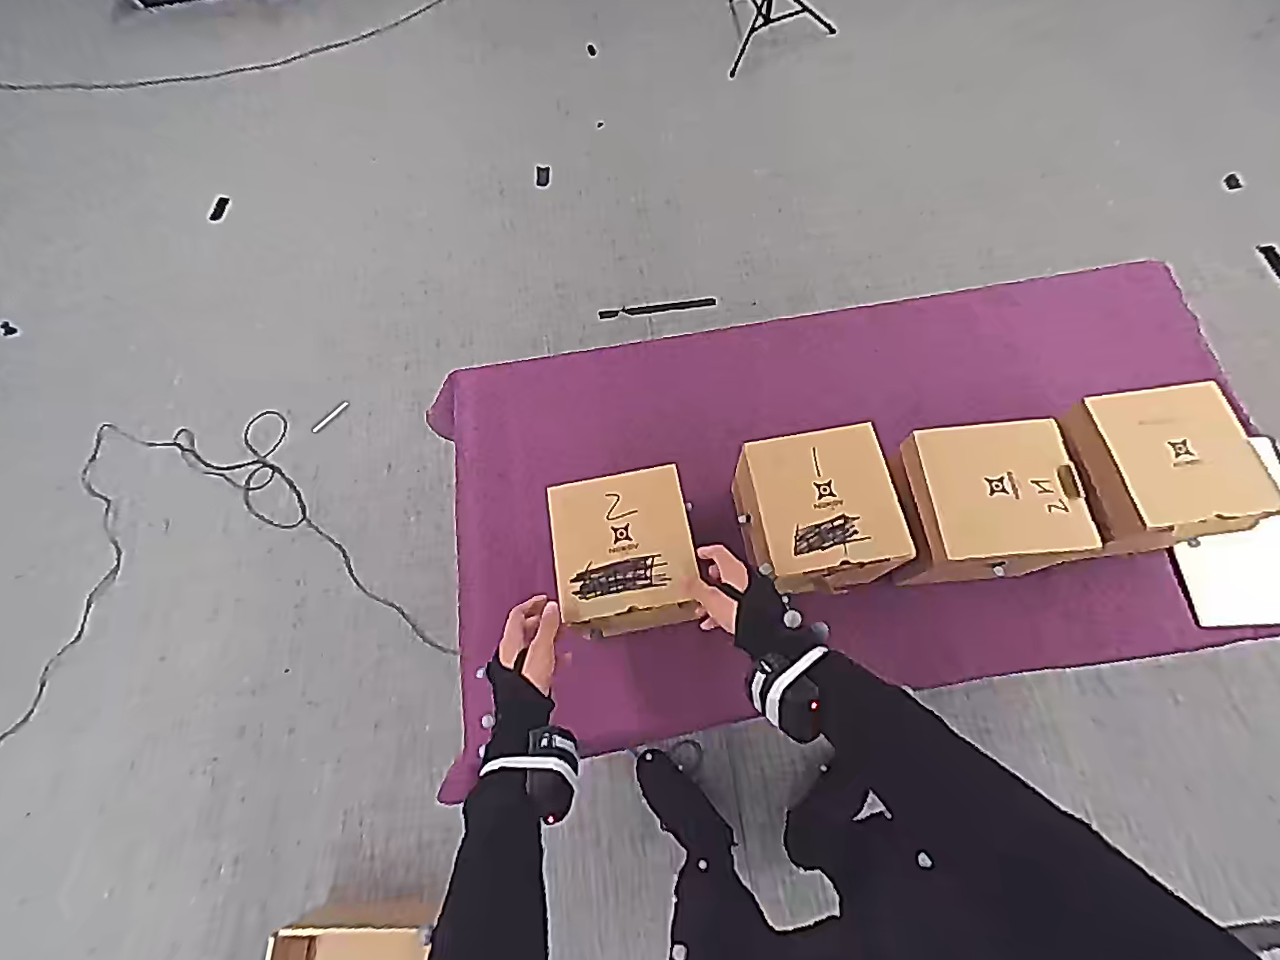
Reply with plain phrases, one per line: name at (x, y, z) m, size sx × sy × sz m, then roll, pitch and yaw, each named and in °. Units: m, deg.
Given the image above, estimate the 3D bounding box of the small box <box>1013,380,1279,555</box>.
small box at (0.643, -0.005, 0.710) m, size 0.168 × 0.176 × 0.179 m, roll -7°, pitch 68°, yaw 1°
